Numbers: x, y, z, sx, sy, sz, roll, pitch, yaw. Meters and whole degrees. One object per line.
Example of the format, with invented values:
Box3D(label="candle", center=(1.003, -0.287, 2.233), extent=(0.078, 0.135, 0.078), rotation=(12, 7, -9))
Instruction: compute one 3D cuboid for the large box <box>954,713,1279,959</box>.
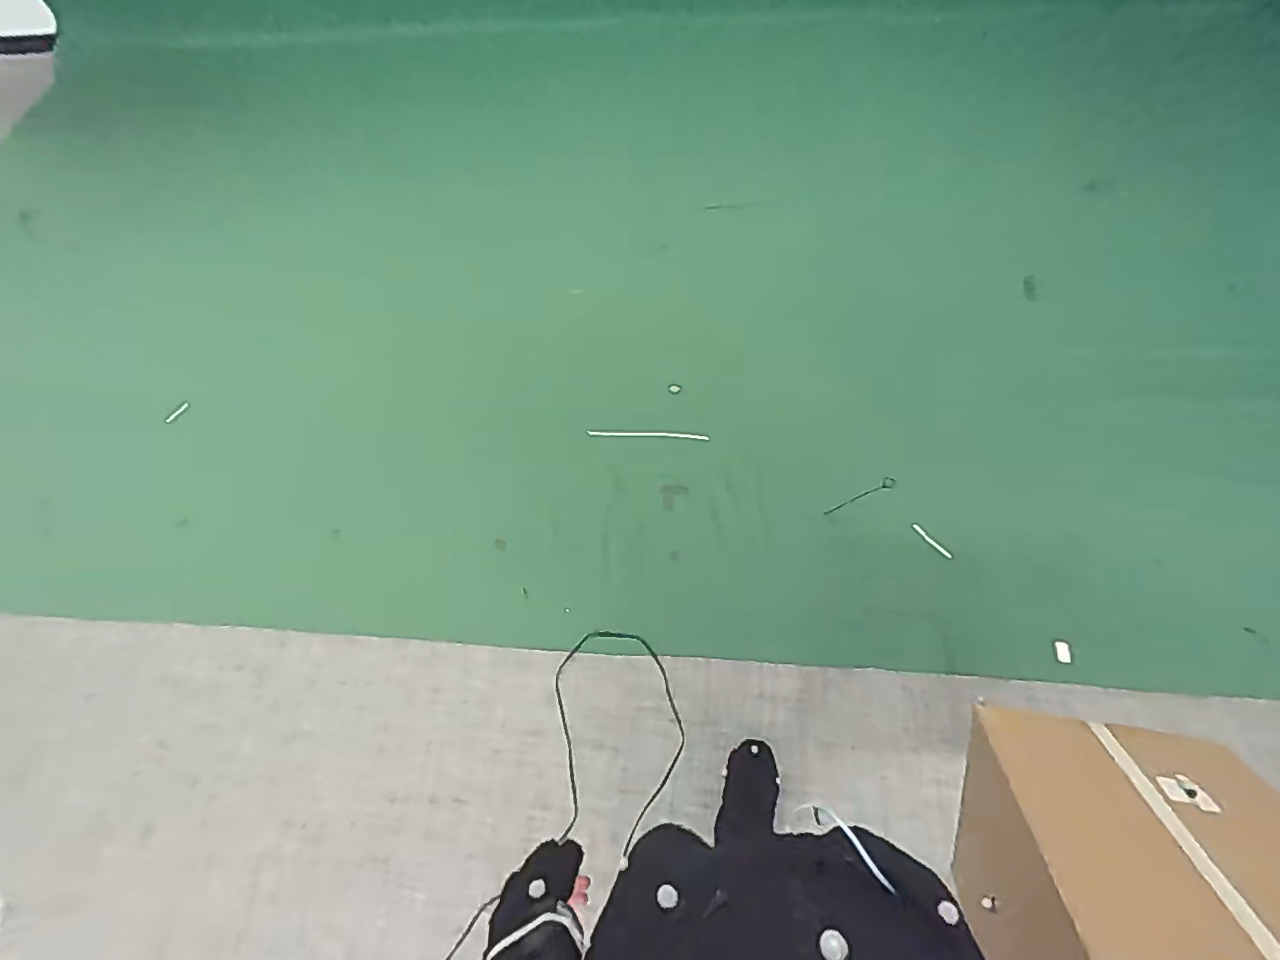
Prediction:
Box3D(label="large box", center=(0.613, 0.559, 0.654), extent=(0.320, 0.408, 0.320), rotation=(5, 102, 17))
